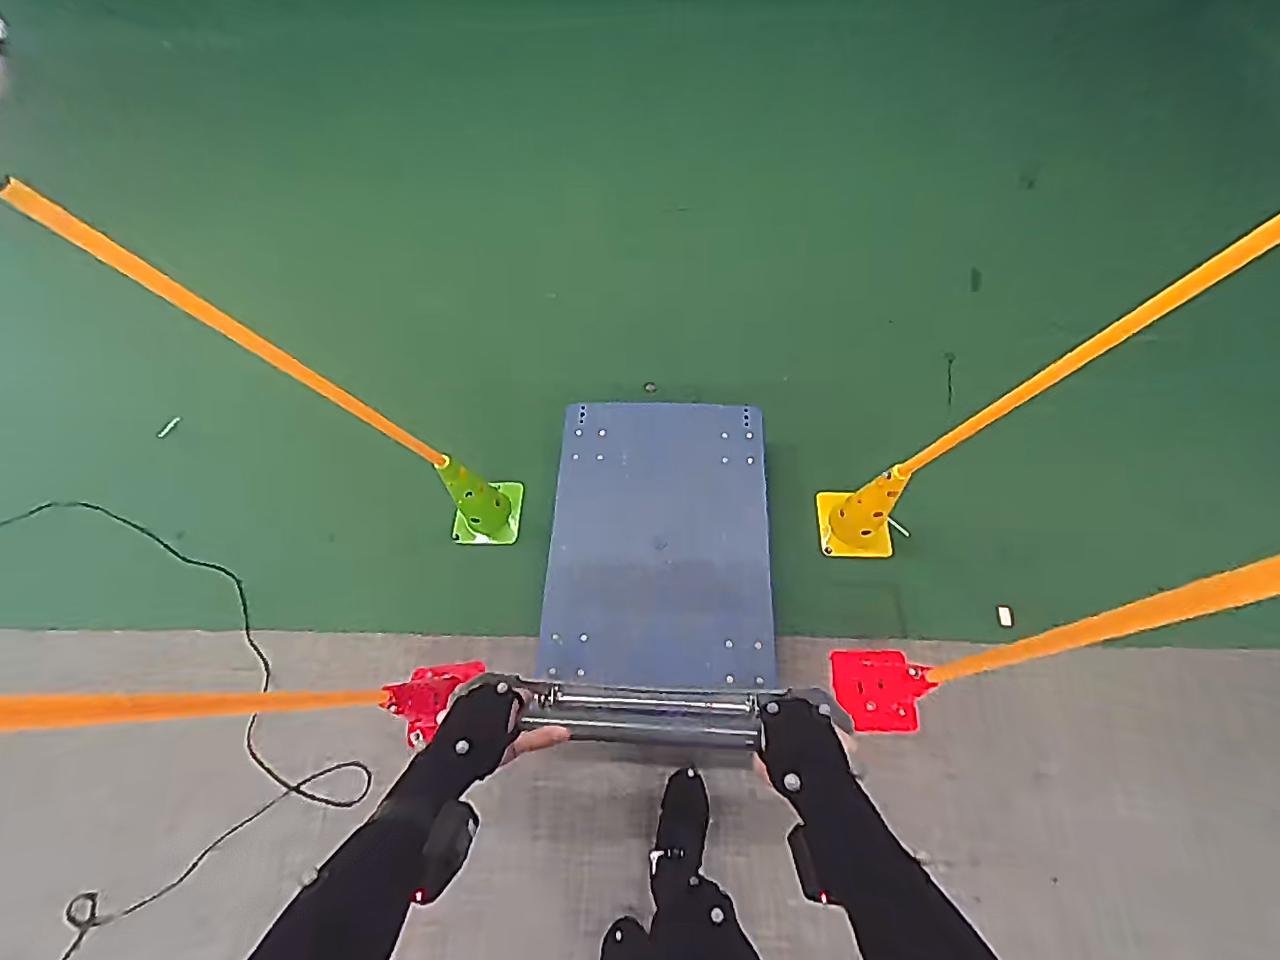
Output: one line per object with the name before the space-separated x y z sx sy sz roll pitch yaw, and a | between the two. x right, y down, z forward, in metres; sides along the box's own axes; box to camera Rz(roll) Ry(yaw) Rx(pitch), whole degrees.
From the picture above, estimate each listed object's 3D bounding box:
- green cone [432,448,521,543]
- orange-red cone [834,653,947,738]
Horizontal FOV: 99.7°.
green cone | -0.478 0.022 1.489 0.200 0.368 0.202 0 64 4
orange-red cone | 0.593 0.467 1.223 0.198 0.360 0.199 1 63 3
